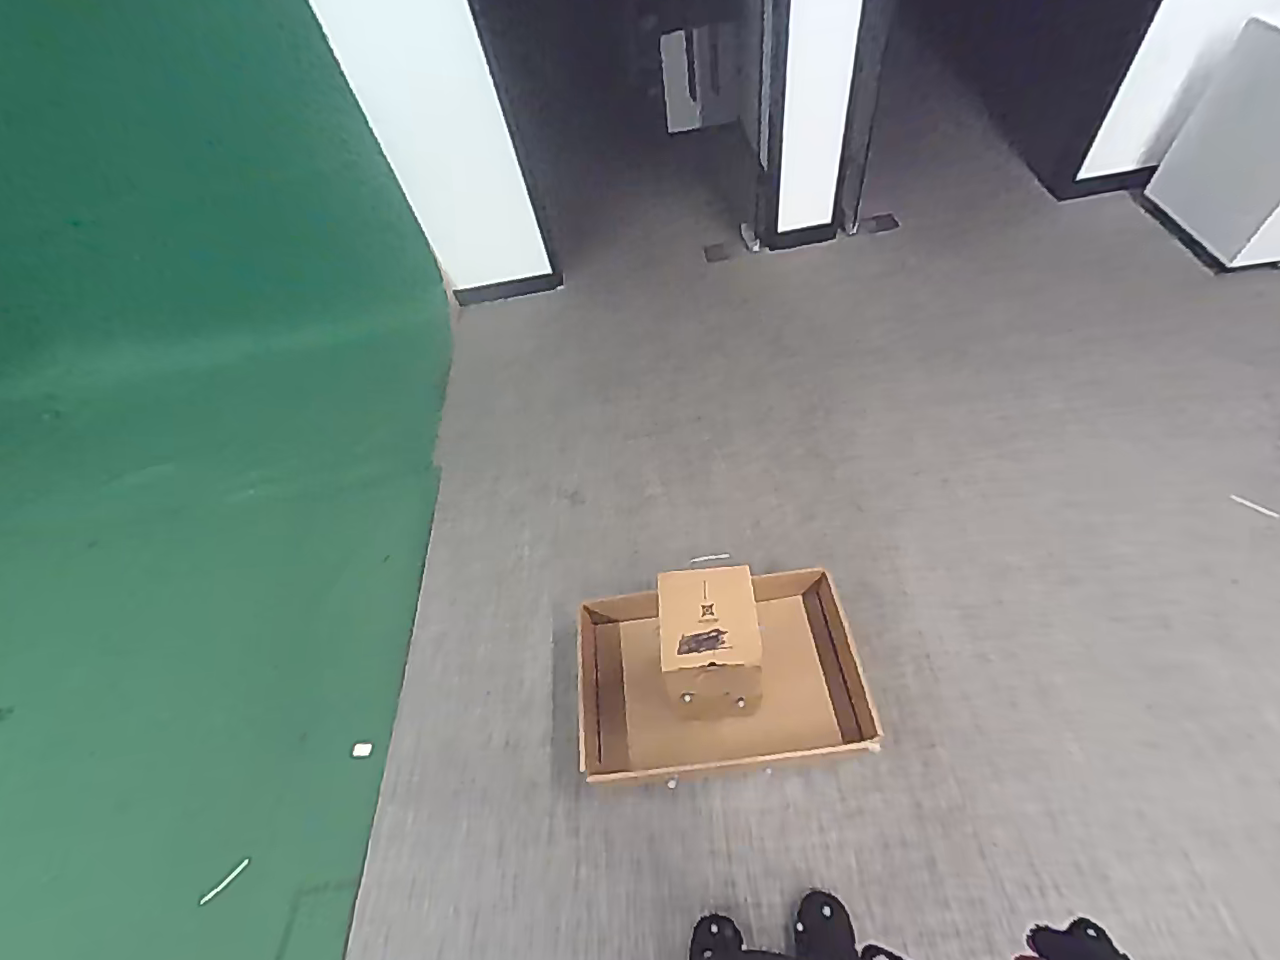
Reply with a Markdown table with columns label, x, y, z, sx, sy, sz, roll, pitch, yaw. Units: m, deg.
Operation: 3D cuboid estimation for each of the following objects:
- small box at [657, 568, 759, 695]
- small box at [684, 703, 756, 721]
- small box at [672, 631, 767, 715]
| label | x | y | z | sx | sy | sz | roll | pitch | yaw |
| --- | --- | --- | --- | --- | --- | --- | --- | --- | --- |
| small box | 0.123 | 0.280 | 0.976 | 0.168 | 0.176 | 0.179 | -6 | 52 | 6 |
| small box | 0.170 | 0.448 | 1.257 | 0.179 | 0.176 | 0.168 | -10 | 52 | 3 |
| small box | 0.148 | 0.365 | 1.096 | 0.179 | 0.176 | 0.168 | -9 | 53 | 3 |
